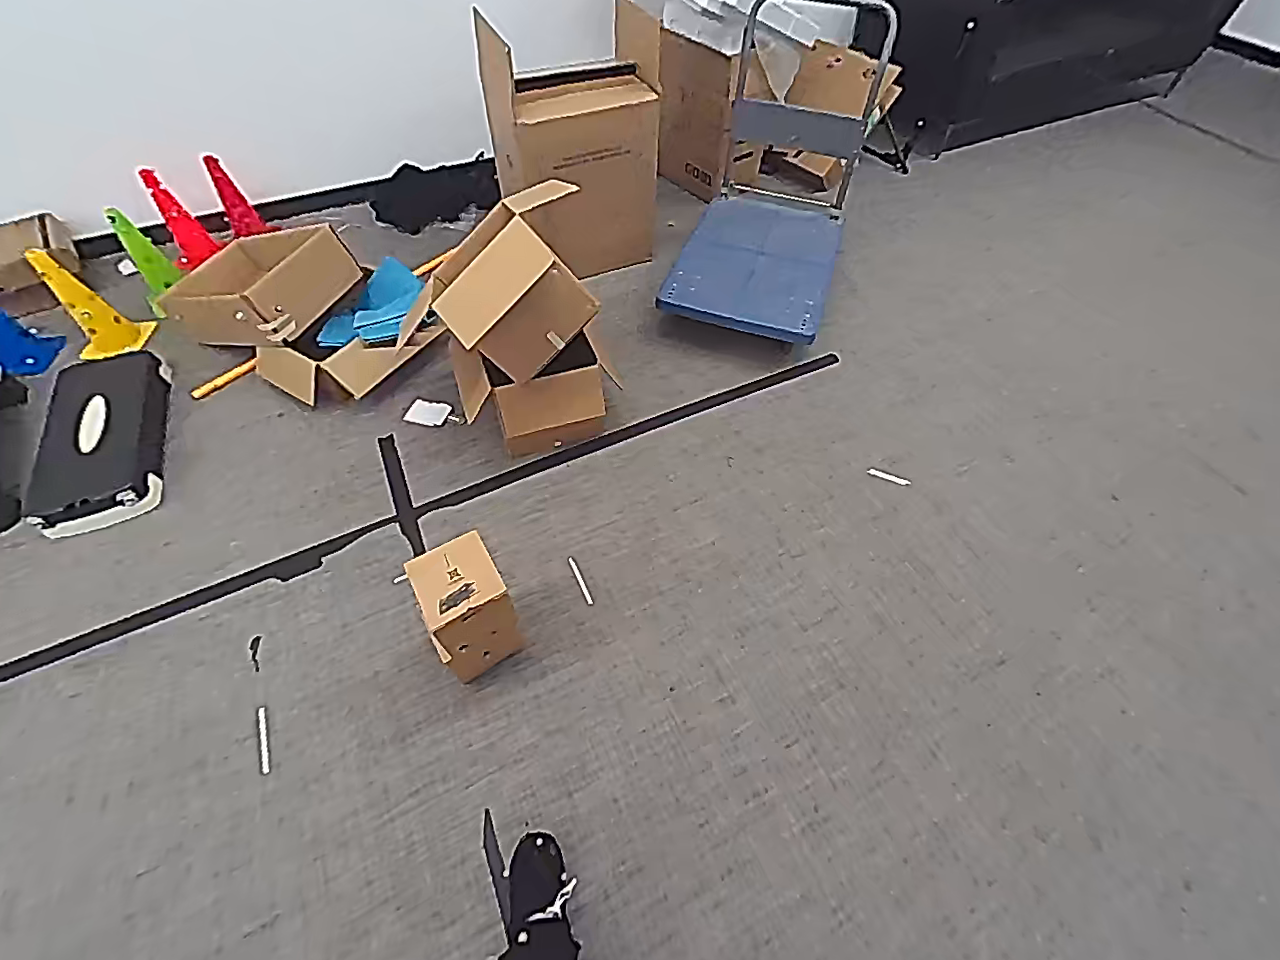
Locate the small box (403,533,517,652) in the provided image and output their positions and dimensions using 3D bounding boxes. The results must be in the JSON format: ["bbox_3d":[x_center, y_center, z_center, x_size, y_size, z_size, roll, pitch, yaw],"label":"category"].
[{"bbox_3d":[-0.387,0.255,1.184,0.168,0.176,0.179,-26,58,-19],"label":"small box"}]
